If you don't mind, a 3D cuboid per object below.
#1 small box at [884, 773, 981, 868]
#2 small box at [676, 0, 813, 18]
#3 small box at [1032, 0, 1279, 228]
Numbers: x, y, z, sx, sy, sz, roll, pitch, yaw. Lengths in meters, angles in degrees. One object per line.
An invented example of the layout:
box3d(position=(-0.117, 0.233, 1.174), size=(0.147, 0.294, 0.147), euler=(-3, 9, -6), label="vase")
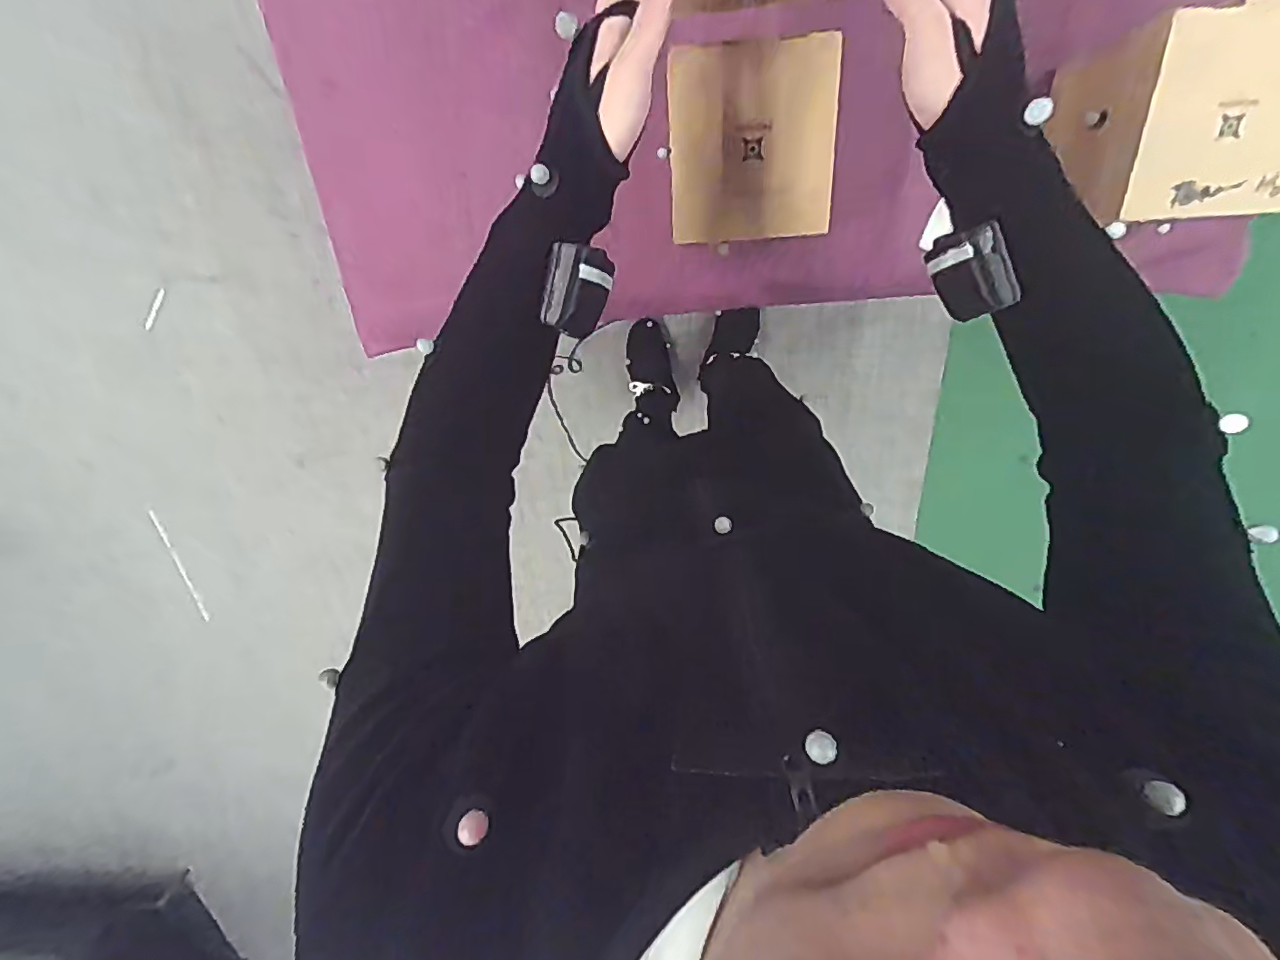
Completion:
box3d(position=(0.897, 1.048, 1.679), size=(0.179, 0.176, 0.168), euler=(33, 112, -12), label="small box")
box3d(position=(0.098, -0.464, 0.375), size=(0.168, 0.176, 0.179), euler=(-5, 119, 5), label="small box")
box3d(position=(0.572, -0.380, 0.588), size=(0.168, 0.176, 0.179), euler=(-1, 112, 4), label="small box")
